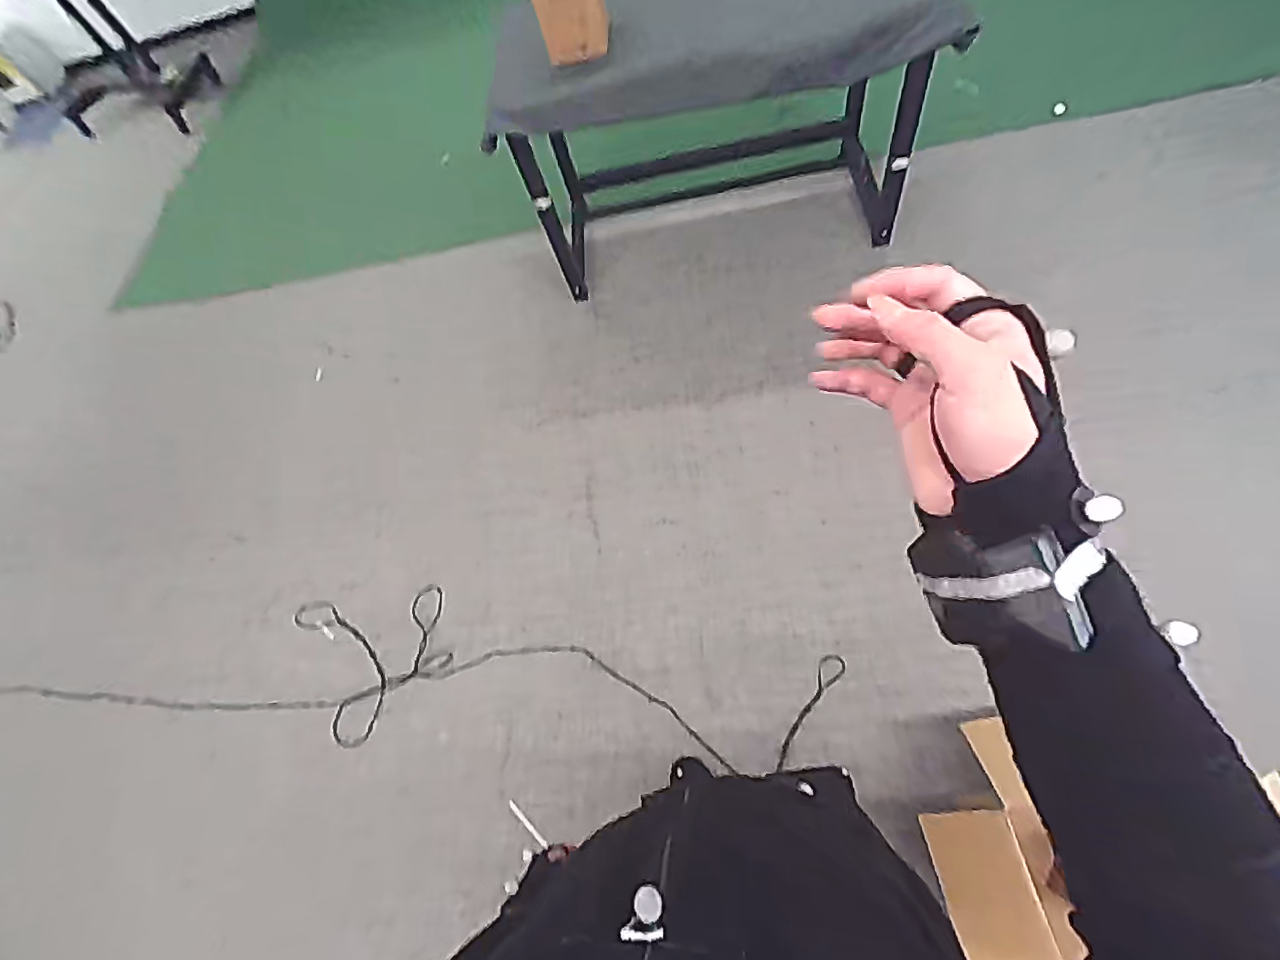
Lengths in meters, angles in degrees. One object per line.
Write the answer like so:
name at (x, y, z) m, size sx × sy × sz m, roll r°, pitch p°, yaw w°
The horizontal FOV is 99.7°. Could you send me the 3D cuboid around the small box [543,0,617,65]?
small box at (-0.161, -1.289, 1.504) m, size 0.168 × 0.176 × 0.179 m, roll -4°, pitch 61°, yaw 8°
